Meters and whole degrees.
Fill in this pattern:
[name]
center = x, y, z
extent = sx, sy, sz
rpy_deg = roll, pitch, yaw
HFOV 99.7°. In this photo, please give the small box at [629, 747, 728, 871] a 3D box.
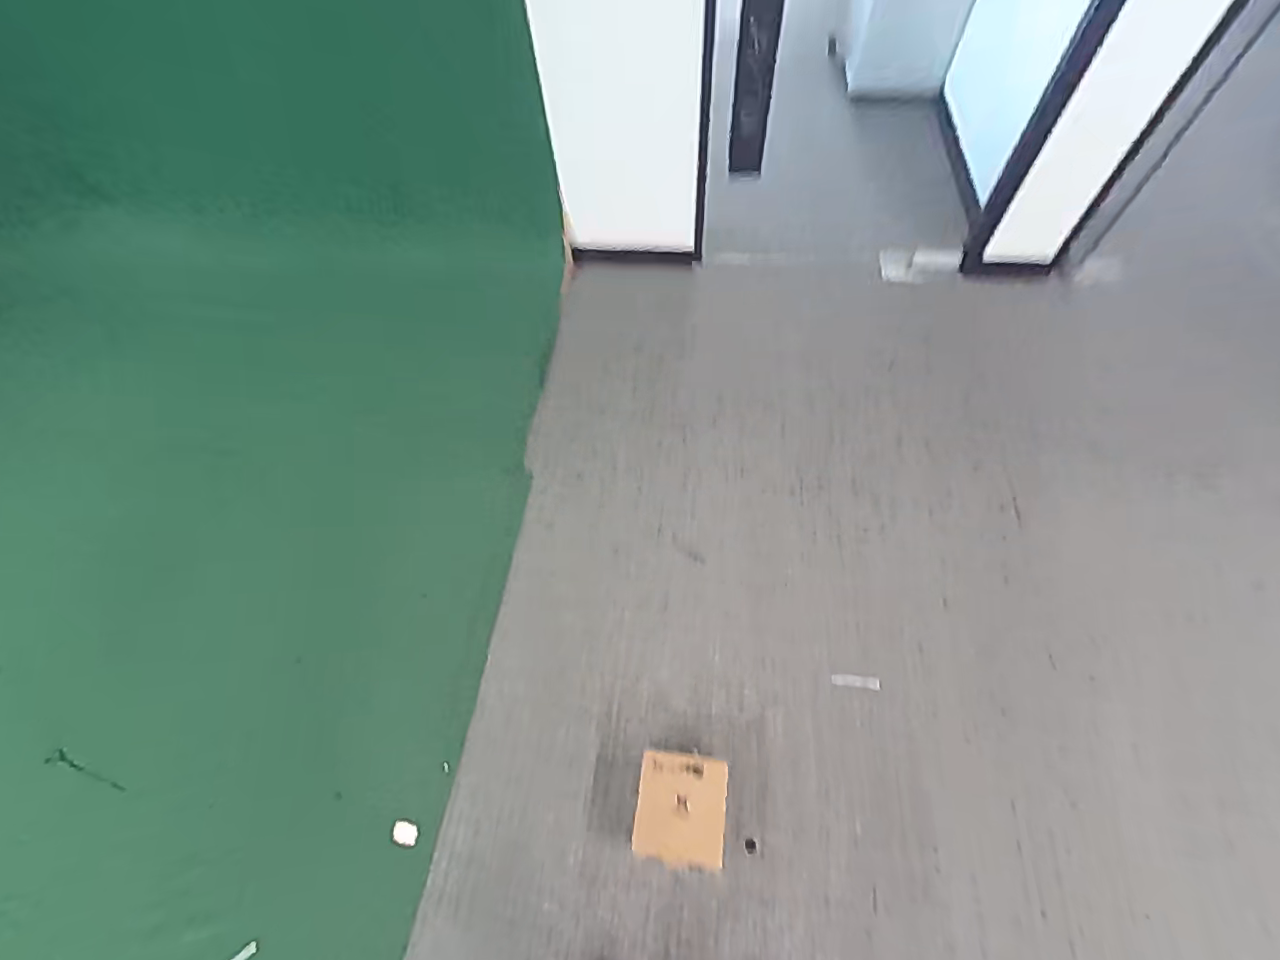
[small box]
center = 0.079, 0.643, 1.068
extent = 0.168, 0.176, 0.179
rpy_deg = 7, 60, 7
